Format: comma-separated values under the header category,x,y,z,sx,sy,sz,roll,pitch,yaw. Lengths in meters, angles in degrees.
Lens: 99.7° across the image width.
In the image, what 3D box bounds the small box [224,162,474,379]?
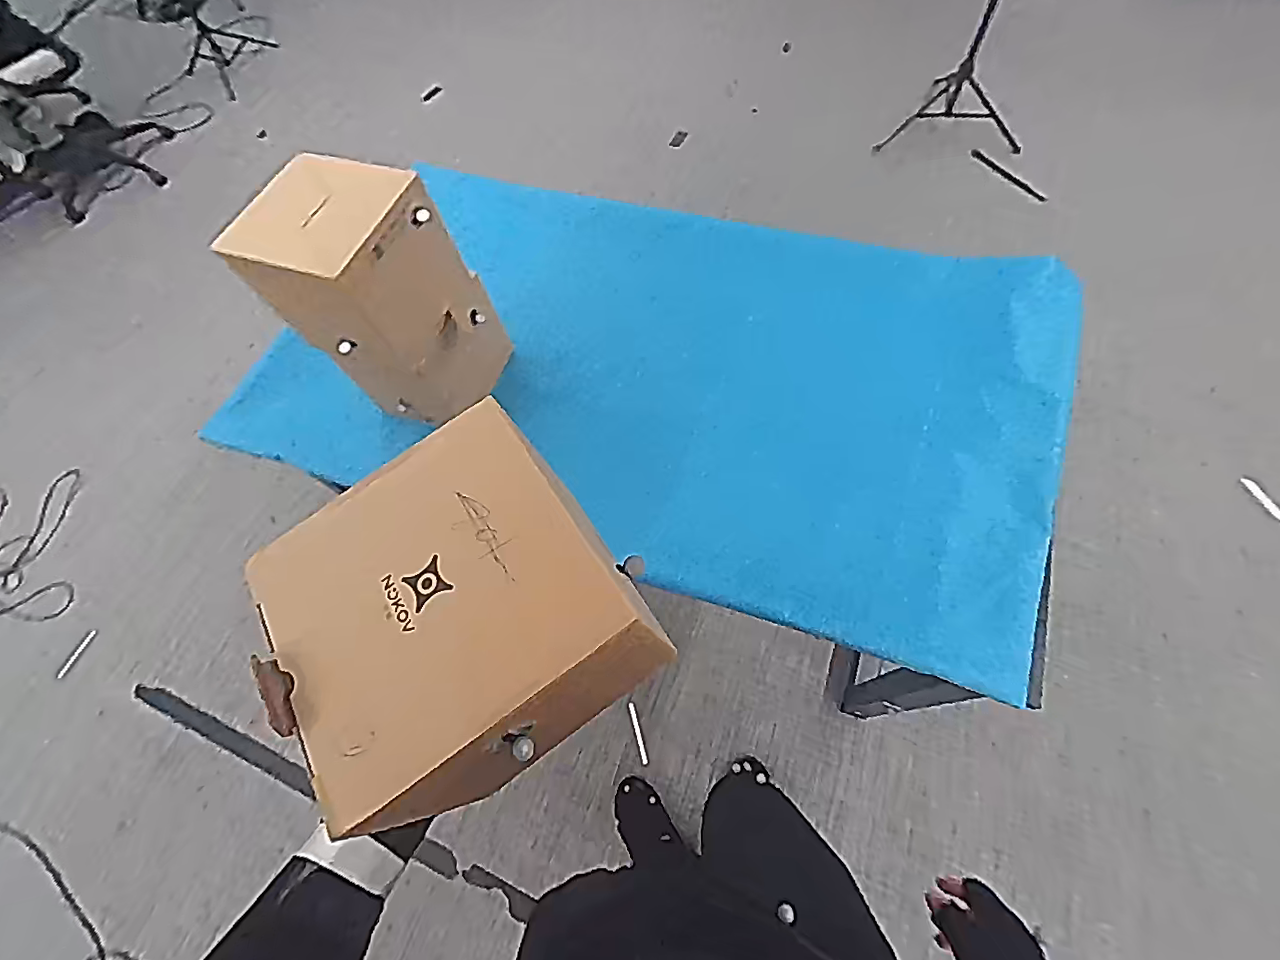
category,x,y,z,sx,sy,sz,roll,pitch,yaw
small box,-0.344,-0.254,0.664,0.179,0.176,0.168,17,68,14

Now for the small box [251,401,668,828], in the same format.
category,x,y,z,sx,sy,sz,roll,pitch,yaw
small box,-0.102,0.088,0.362,0.179,0.176,0.168,-35,65,-3

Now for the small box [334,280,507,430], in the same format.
category,x,y,z,sx,sy,sz,roll,pitch,yaw
small box,-0.323,-0.195,0.819,0.168,0.176,0.179,18,70,17
